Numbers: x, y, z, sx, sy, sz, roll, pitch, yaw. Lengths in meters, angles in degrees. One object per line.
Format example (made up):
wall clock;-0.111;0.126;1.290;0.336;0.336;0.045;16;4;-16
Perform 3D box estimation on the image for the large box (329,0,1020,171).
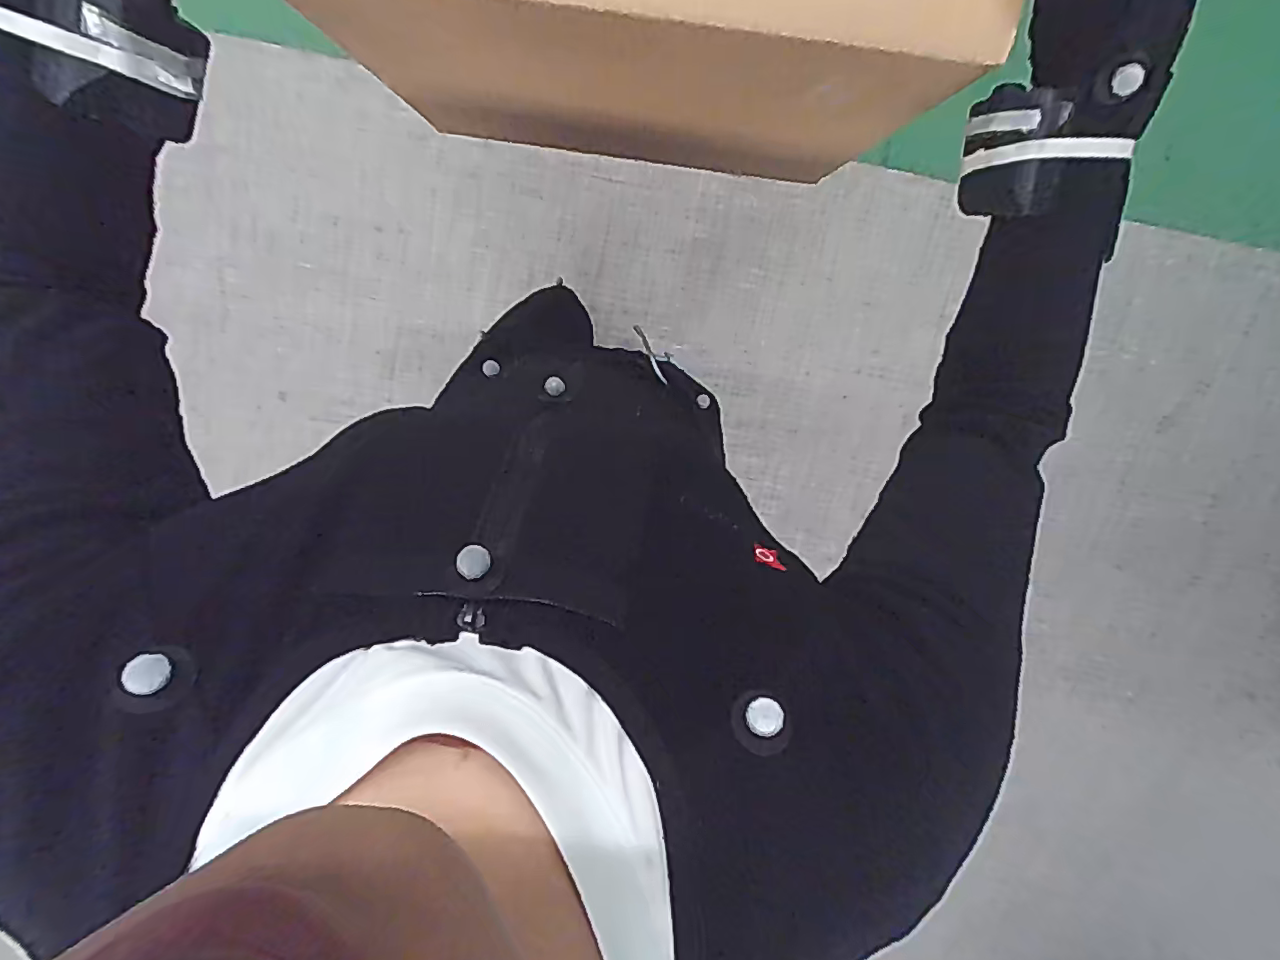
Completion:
large box;0.015;-0.444;0.383;0.408;0.320;0.320;5;109;-4
